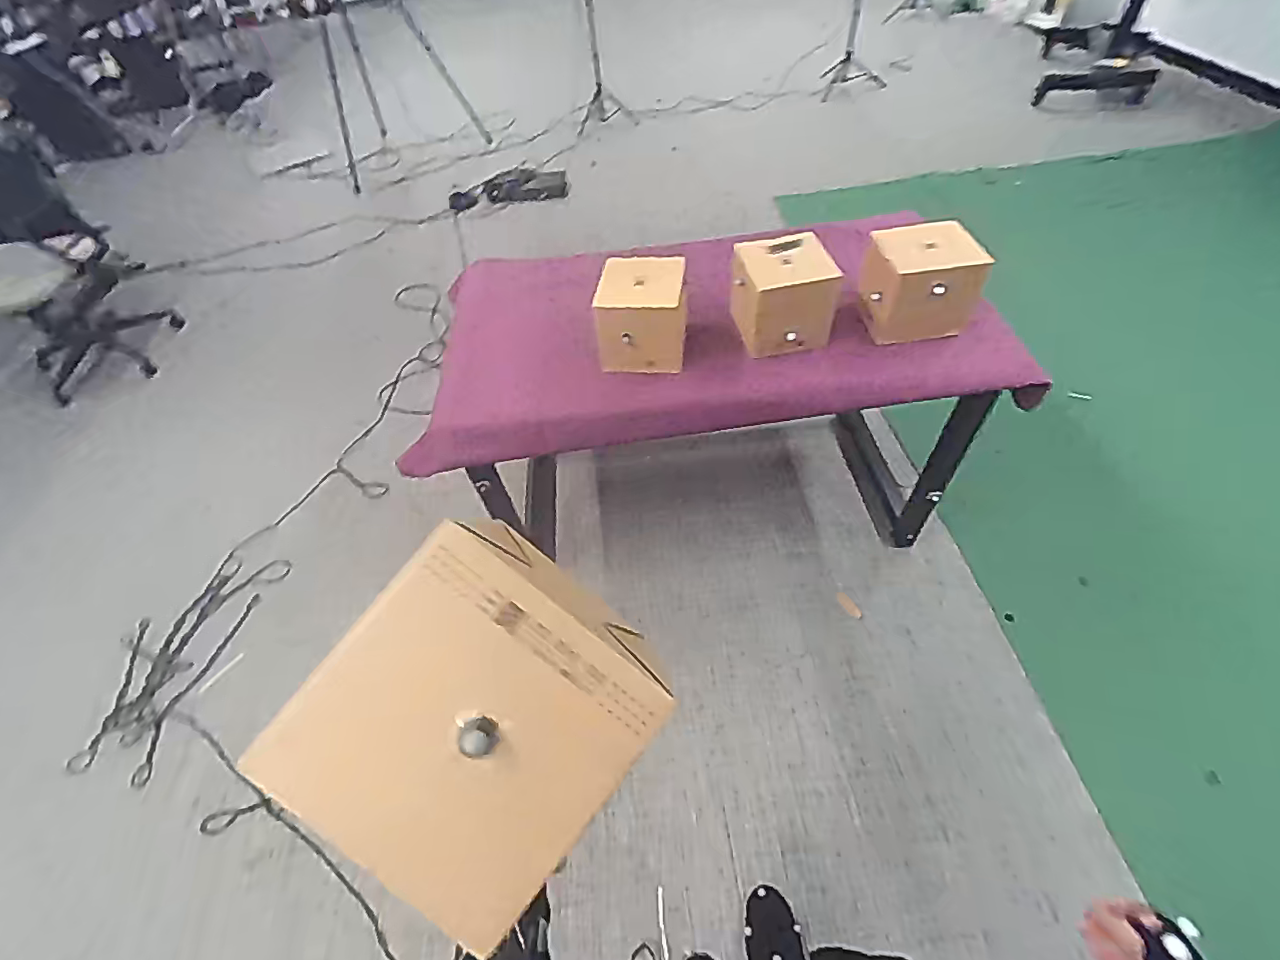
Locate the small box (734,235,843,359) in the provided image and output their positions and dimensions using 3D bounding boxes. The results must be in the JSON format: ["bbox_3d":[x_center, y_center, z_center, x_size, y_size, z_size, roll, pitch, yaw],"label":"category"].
[{"bbox_3d":[0.297,-0.380,1.129,0.168,0.176,0.179,-10,52,-1],"label":"small box"}]

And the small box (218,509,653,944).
[{"bbox_3d":[-0.109,0.131,0.365,0.168,0.179,0.176,39,83,-2],"label":"small box"}]

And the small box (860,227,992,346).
[{"bbox_3d":[0.568,-0.393,1.110,0.179,0.176,0.168,-5,51,2],"label":"small box"}]

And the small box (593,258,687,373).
[{"bbox_3d":[0.009,-0.341,1.129,0.168,0.176,0.179,3,52,9],"label":"small box"}]
